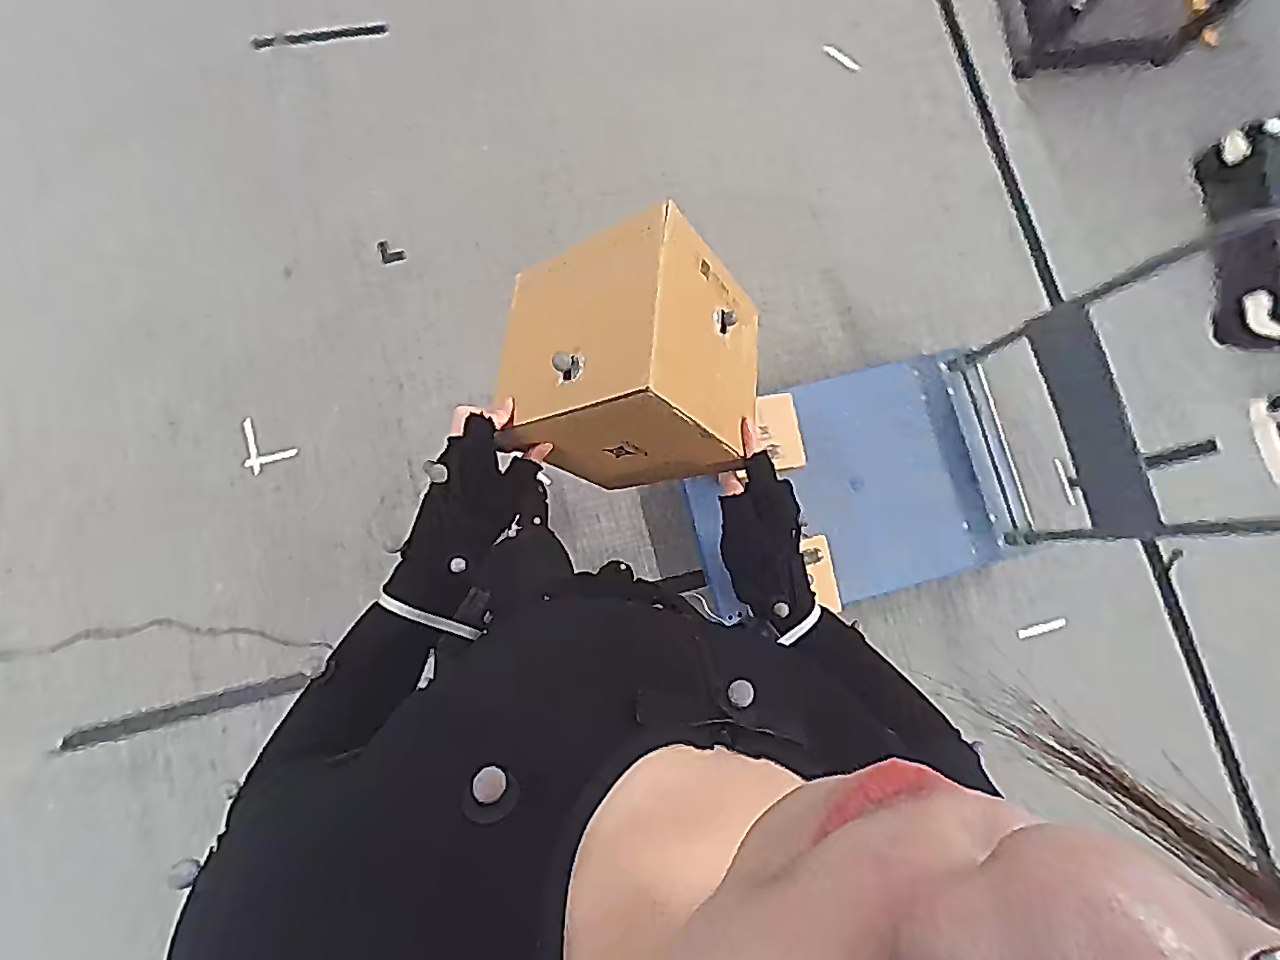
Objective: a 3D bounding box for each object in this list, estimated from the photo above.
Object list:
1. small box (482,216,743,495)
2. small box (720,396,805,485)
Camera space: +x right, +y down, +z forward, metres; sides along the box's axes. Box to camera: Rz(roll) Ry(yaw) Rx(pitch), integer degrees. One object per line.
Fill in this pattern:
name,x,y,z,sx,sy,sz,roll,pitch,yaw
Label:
small box,-0.015,-0.098,0.500,0.179,0.168,0.176,-11,67,35
small box,0.276,-0.088,1.306,0.168,0.176,0.179,-9,83,-6
